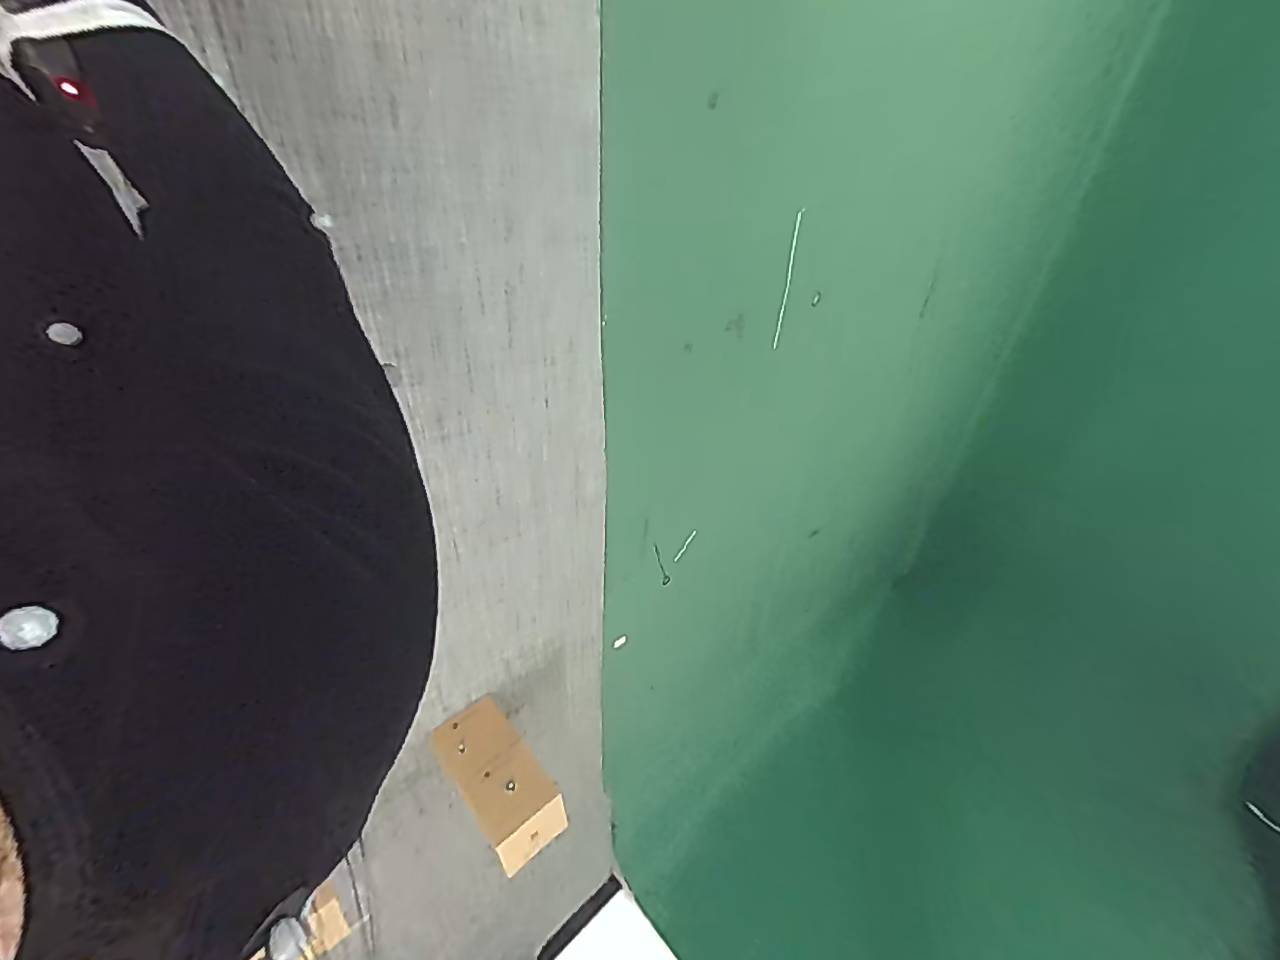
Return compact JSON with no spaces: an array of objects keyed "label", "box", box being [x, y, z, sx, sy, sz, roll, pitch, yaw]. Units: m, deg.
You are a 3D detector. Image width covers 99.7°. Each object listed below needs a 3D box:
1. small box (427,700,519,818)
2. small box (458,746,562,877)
[{"label":"small box","box":[-0.413,0.688,1.357,0.168,0.176,0.179,-26,135,-33]},{"label":"small box","box":[-0.302,0.759,1.258,0.168,0.176,0.179,-27,135,-31]}]
